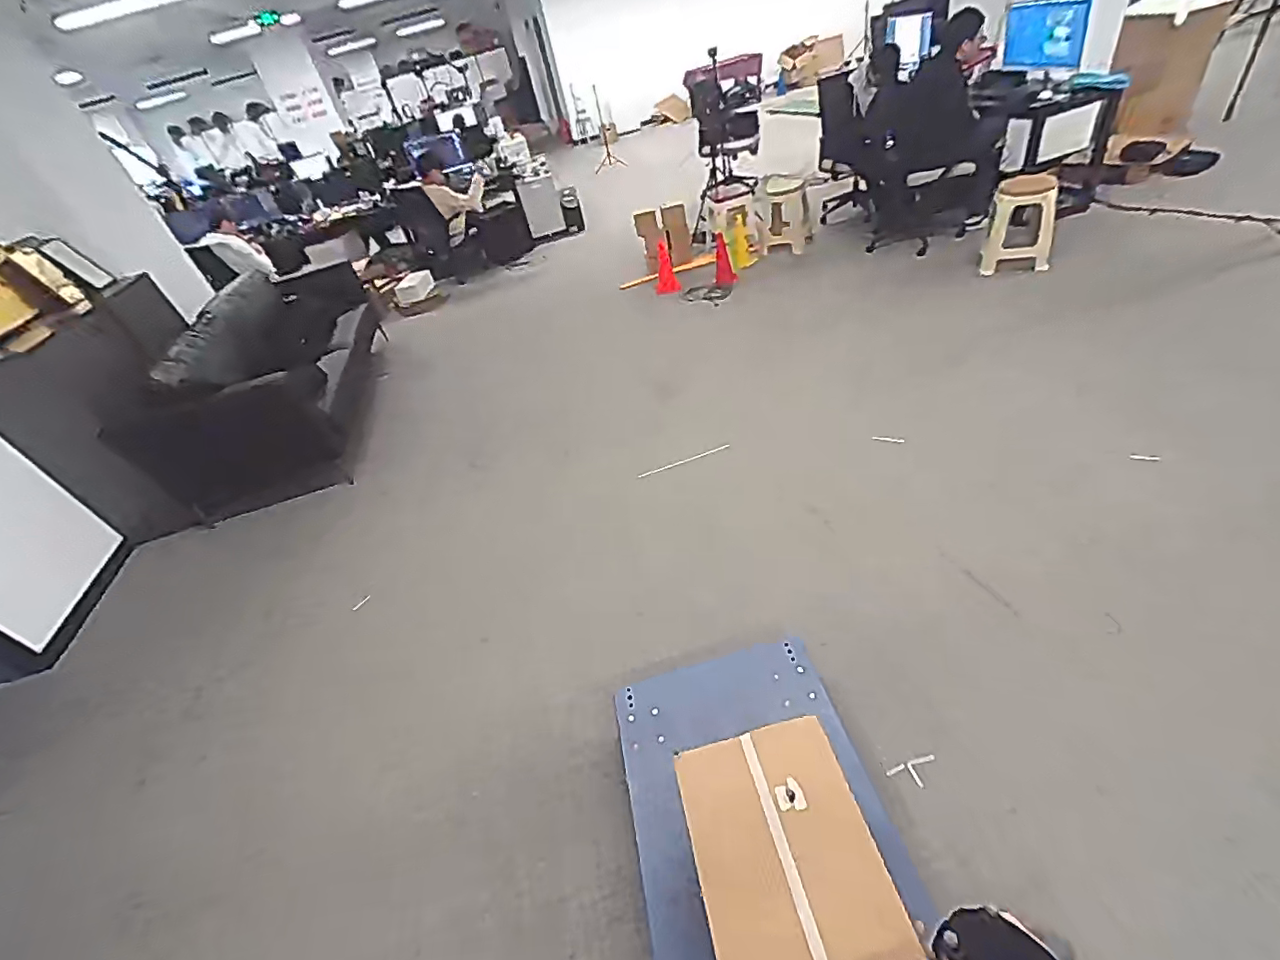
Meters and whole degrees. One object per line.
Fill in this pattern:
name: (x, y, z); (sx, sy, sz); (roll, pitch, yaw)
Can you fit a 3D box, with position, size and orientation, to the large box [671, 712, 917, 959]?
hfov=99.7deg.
large box: (0.282, 0.760, 1.074); (0.320, 0.320, 0.408); (-16, 38, 0)
